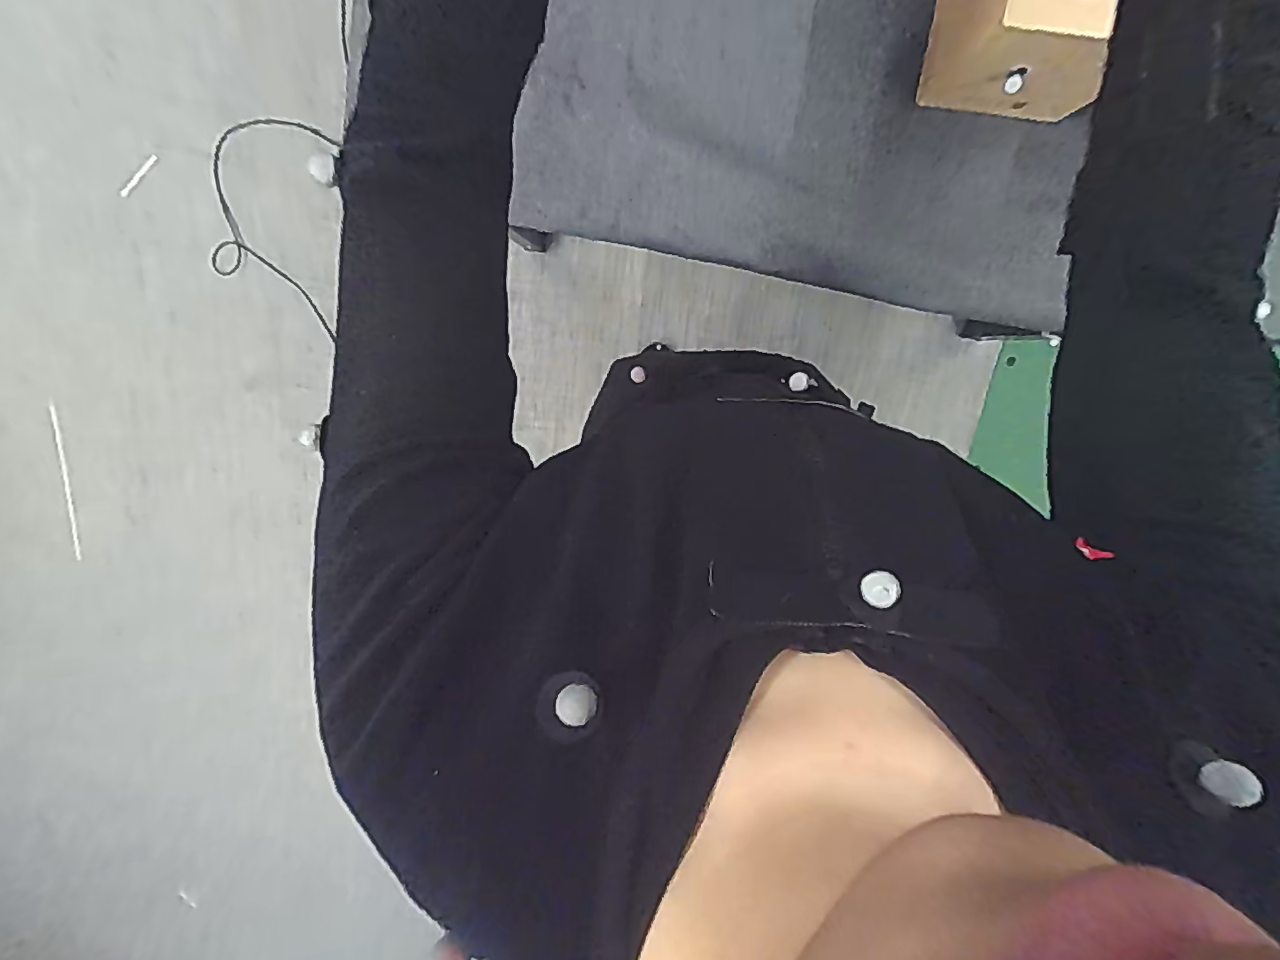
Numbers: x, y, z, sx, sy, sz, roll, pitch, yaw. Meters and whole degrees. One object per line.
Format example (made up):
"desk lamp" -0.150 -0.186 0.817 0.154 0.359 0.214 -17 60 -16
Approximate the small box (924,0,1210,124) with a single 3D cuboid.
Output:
"small box" 0.401 -0.471 0.515 0.168 0.176 0.179 7 103 1
